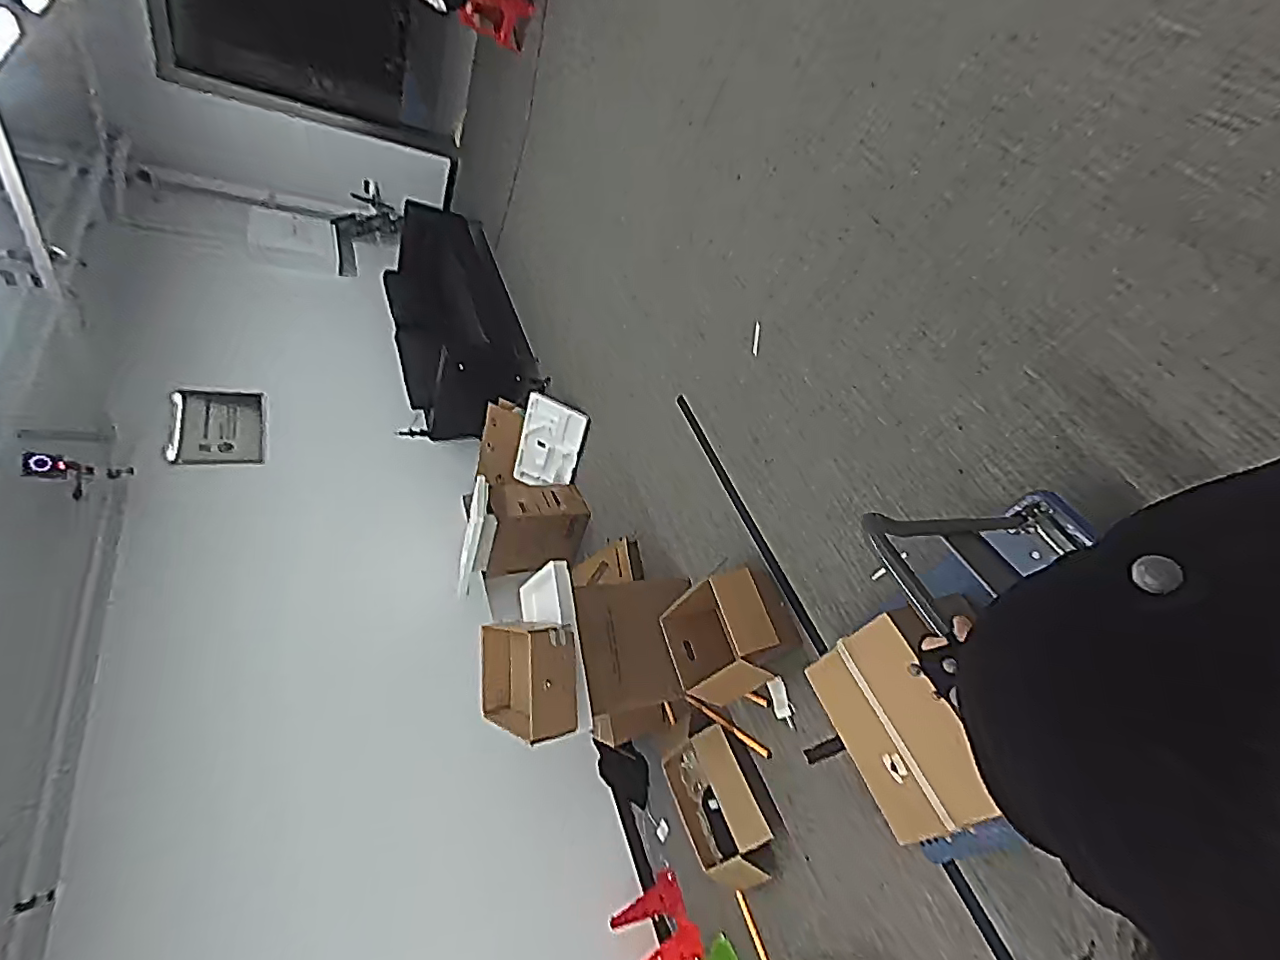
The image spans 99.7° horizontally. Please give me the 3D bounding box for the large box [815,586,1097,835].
[{"bbox_3d":[0.700,0.510,1.247,0.408,0.320,0.320,64,142,33],"label":"large box"}]
